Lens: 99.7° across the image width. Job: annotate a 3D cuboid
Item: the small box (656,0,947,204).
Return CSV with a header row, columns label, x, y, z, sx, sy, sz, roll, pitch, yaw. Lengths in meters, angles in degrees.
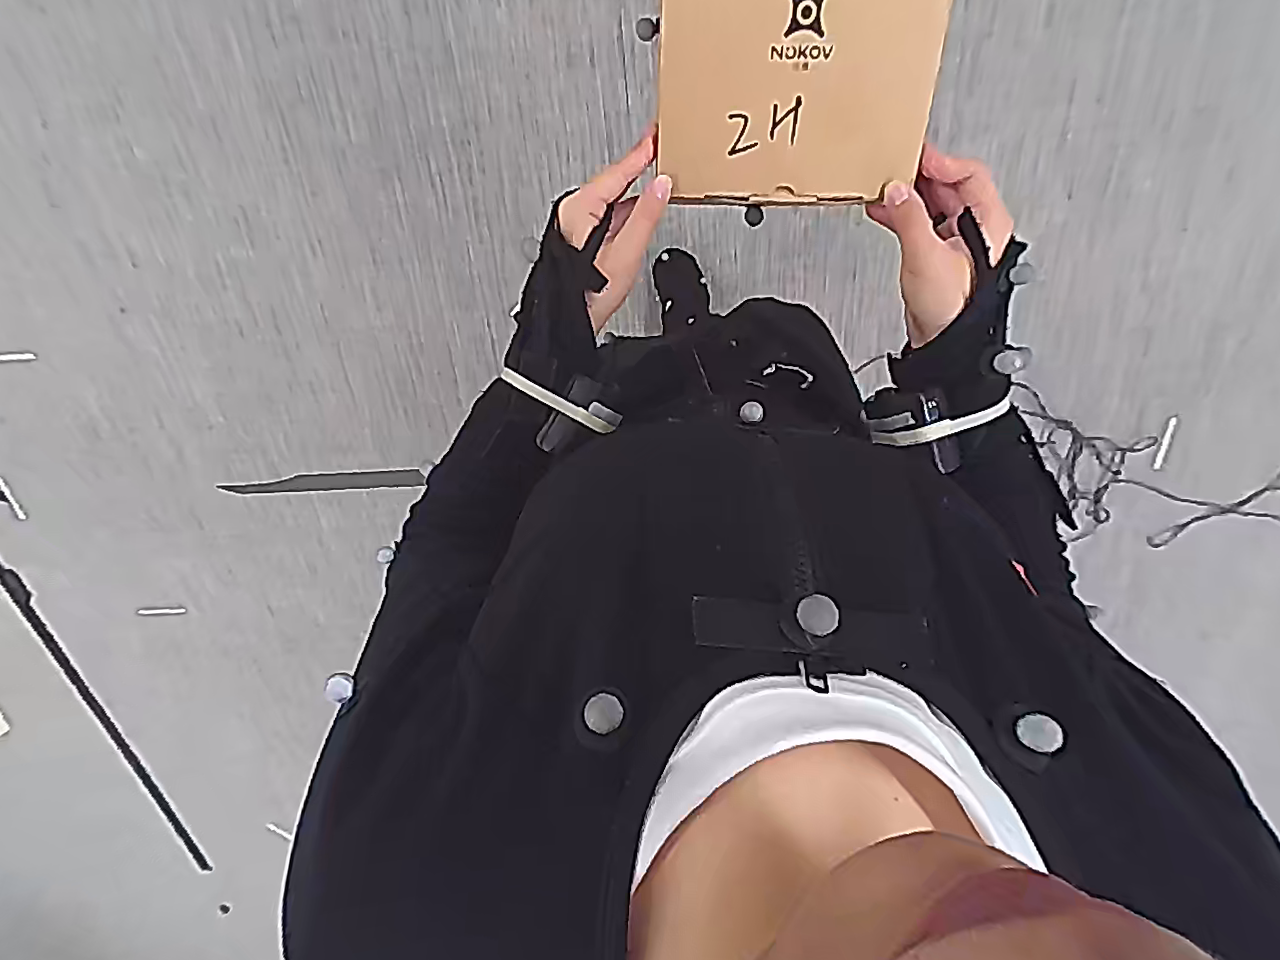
label,x,y,z,sx,sy,sz,roll,pitch,yaw
small box,0.097,-0.302,0.391,0.168,0.176,0.179,2,117,1
